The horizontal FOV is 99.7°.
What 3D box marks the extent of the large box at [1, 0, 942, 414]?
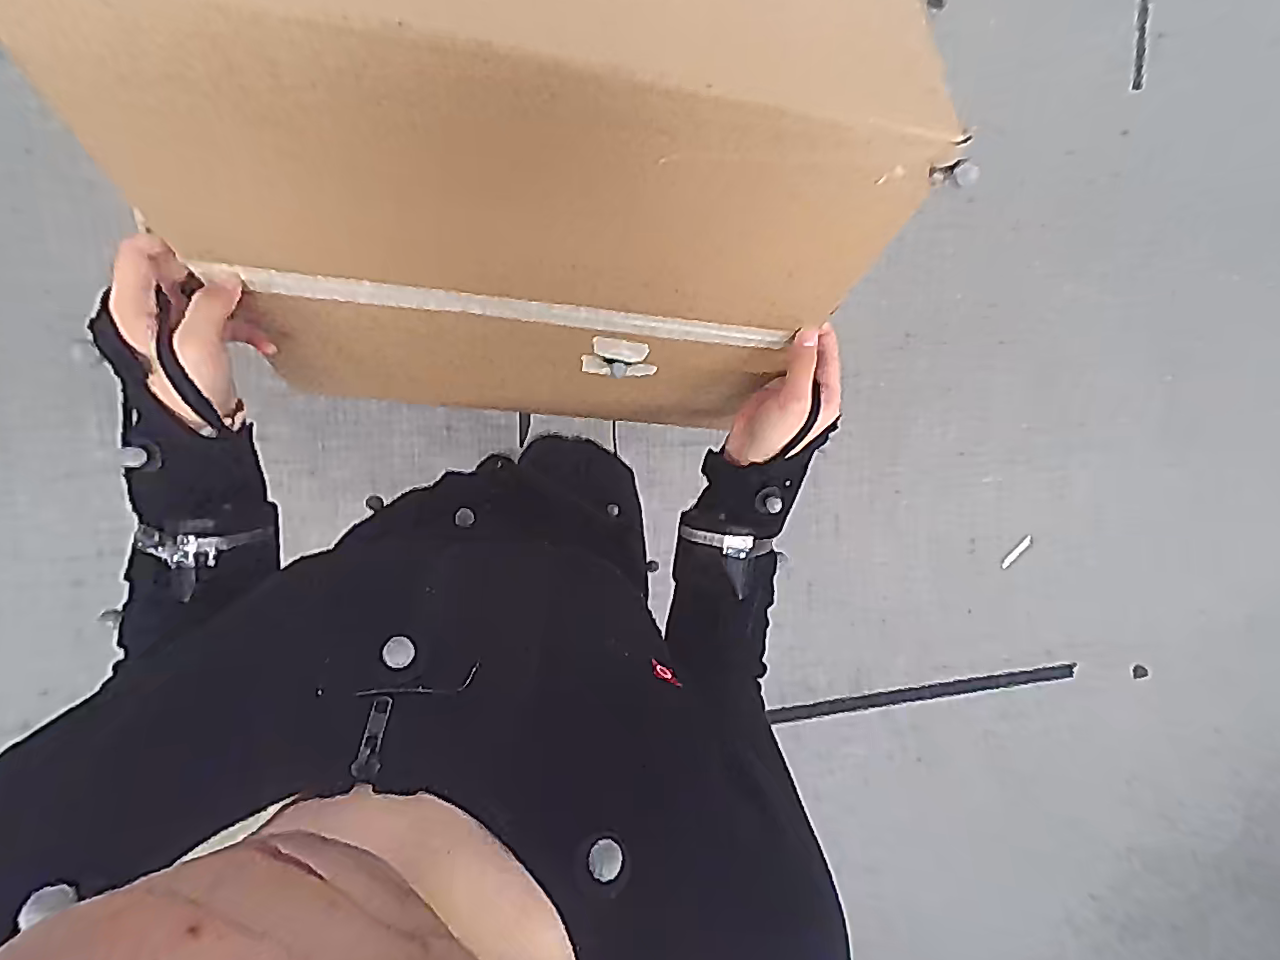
[{"bbox_3d":[-0.077,-0.266,0.419,0.408,0.320,0.320,3,70,-10],"label":"large box"}]
